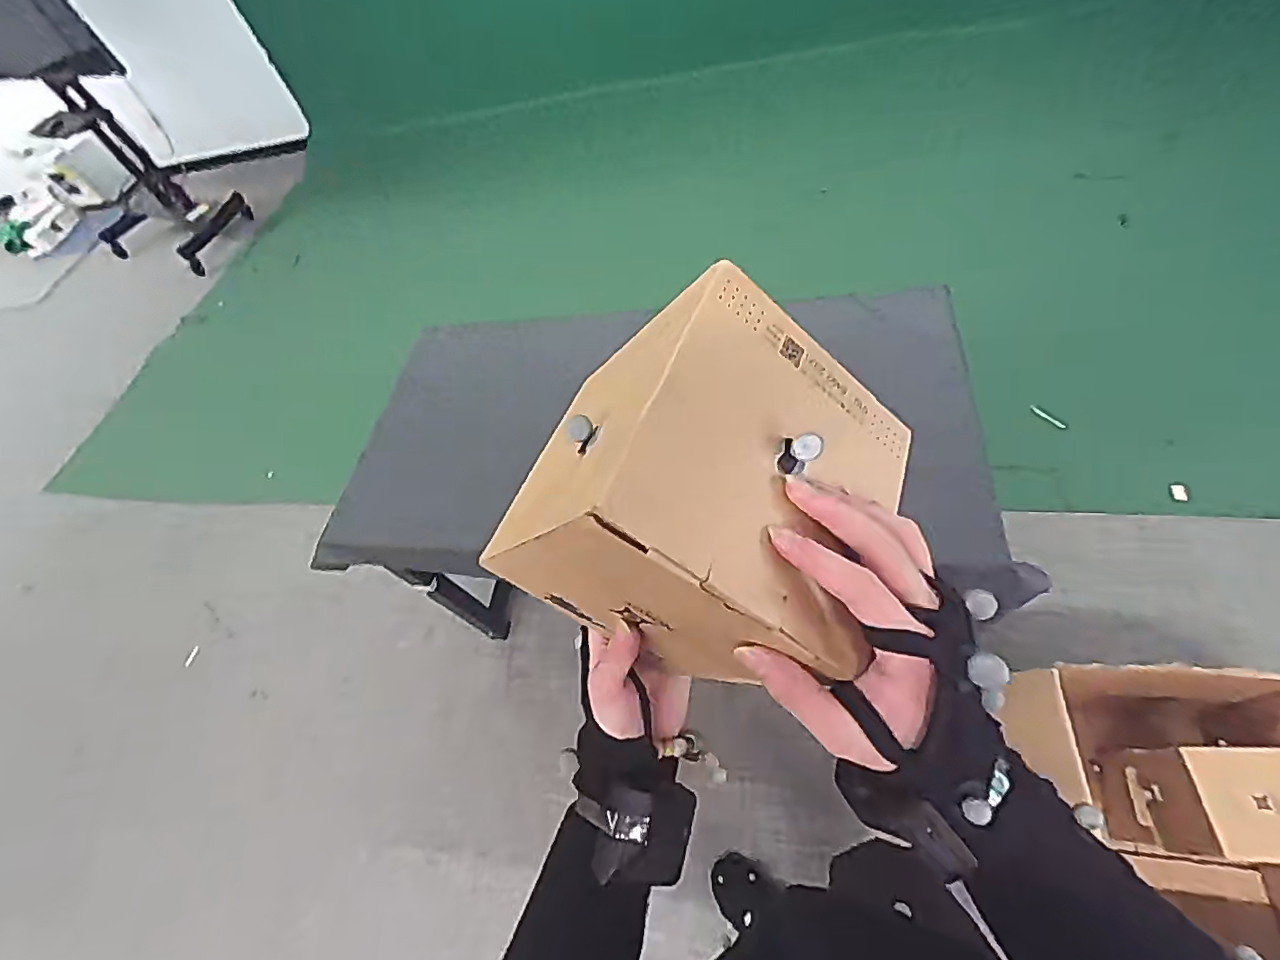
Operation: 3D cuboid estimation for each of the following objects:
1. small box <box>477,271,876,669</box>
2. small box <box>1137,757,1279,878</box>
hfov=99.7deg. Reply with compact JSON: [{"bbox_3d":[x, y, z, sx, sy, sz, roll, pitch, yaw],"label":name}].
[{"bbox_3d":[0.029,0.005,0.351,0.179,0.168,0.176,-27,30,54],"label":"small box"},{"bbox_3d":[1.021,0.572,0.923,0.179,0.176,0.168,-5,58,12],"label":"small box"}]
